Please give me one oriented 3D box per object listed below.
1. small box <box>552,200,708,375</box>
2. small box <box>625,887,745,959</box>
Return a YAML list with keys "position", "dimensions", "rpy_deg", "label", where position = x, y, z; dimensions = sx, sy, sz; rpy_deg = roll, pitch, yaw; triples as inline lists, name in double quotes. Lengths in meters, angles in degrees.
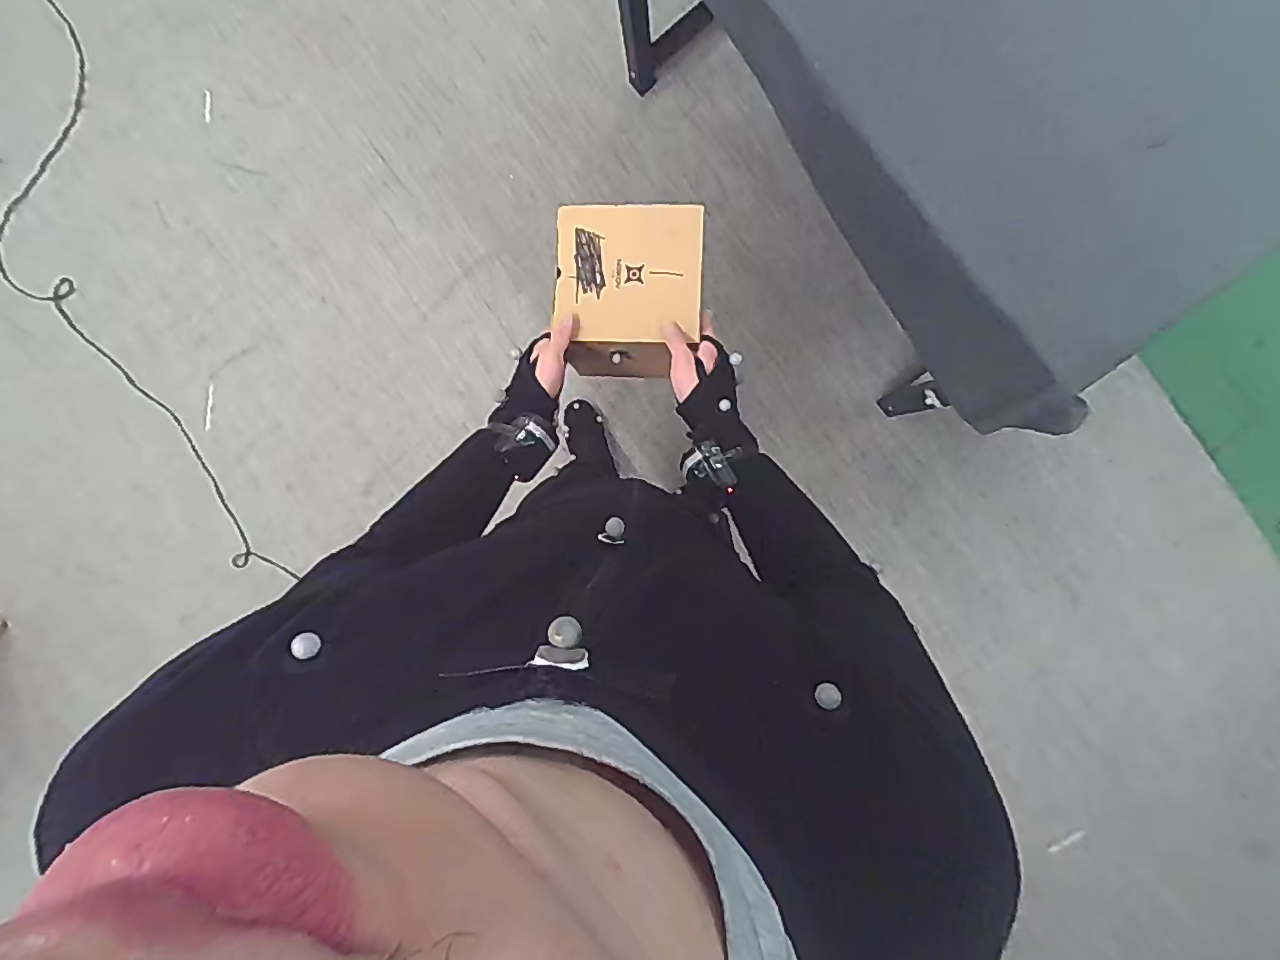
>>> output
- position: [-0.006, -0.237, 0.701]
  dimensions: [0.179, 0.176, 0.168]
  rpy_deg: [2, 88, 4]
  label: "small box"
- position: [0.082, 0.871, 0.937]
  dimensions: [0.179, 0.176, 0.168]
  rpy_deg: [-34, 92, 5]
  label: "small box"
